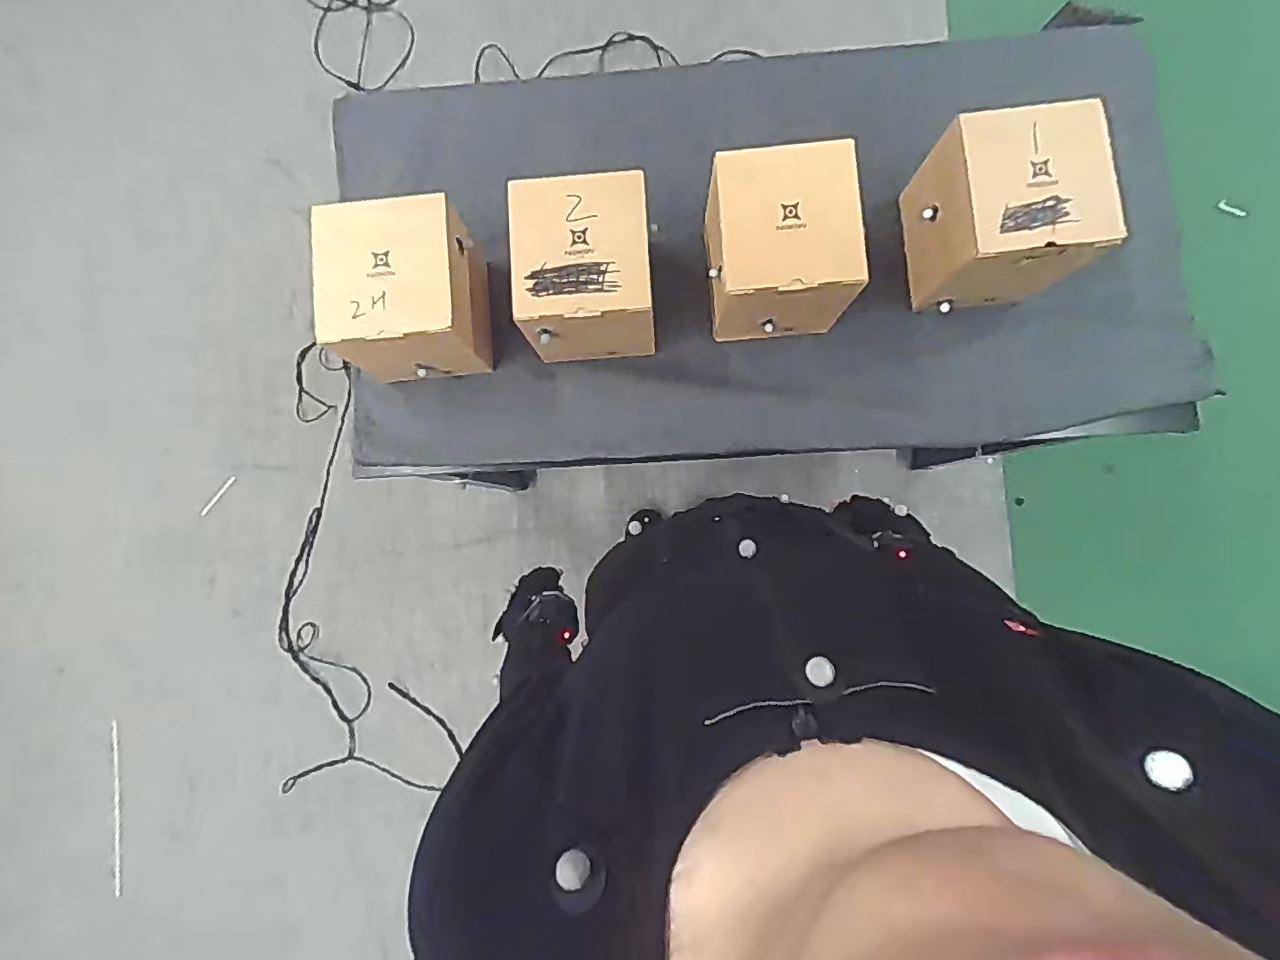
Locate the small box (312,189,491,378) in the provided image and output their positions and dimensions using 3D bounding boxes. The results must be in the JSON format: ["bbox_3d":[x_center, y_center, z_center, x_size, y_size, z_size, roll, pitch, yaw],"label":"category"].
[{"bbox_3d":[-0.304,-0.249,0.719,0.168,0.176,0.179,-5,85,1],"label":"small box"}]

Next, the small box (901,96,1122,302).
[{"bbox_3d":[0.460,-0.344,0.699,0.168,0.176,0.179,-5,85,2],"label":"small box"}]

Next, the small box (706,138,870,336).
[{"bbox_3d":[0.180,-0.306,0.710,0.168,0.176,0.179,-5,87,2],"label":"small box"}]
